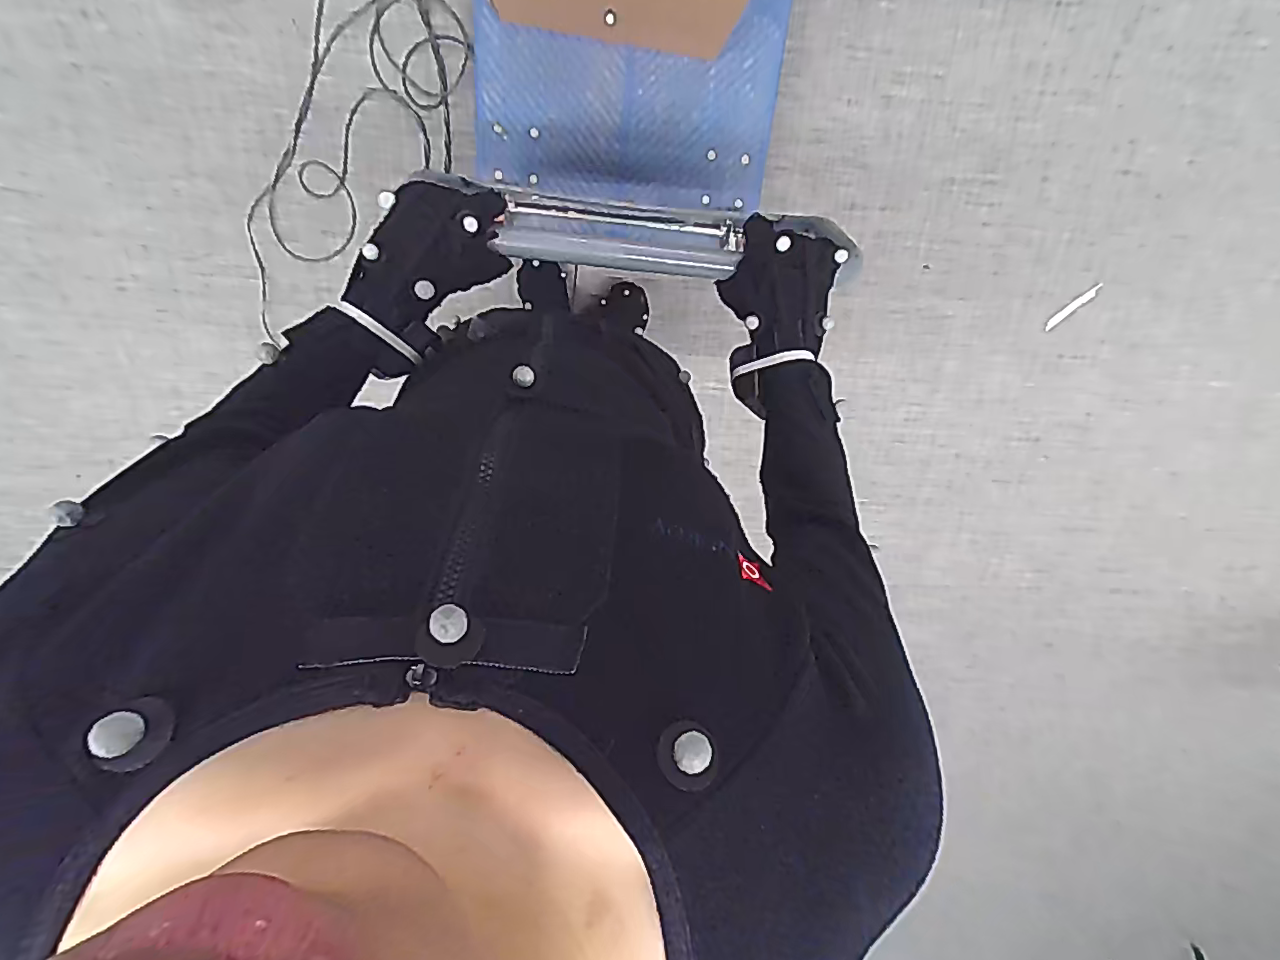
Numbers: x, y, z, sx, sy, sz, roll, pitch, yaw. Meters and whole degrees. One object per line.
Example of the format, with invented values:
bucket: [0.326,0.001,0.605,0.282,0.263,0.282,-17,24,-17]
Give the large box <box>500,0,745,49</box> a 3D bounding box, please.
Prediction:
large box: [-0.025,-0.904,0.810,0.408,0.320,0.320,6,113,-5]
